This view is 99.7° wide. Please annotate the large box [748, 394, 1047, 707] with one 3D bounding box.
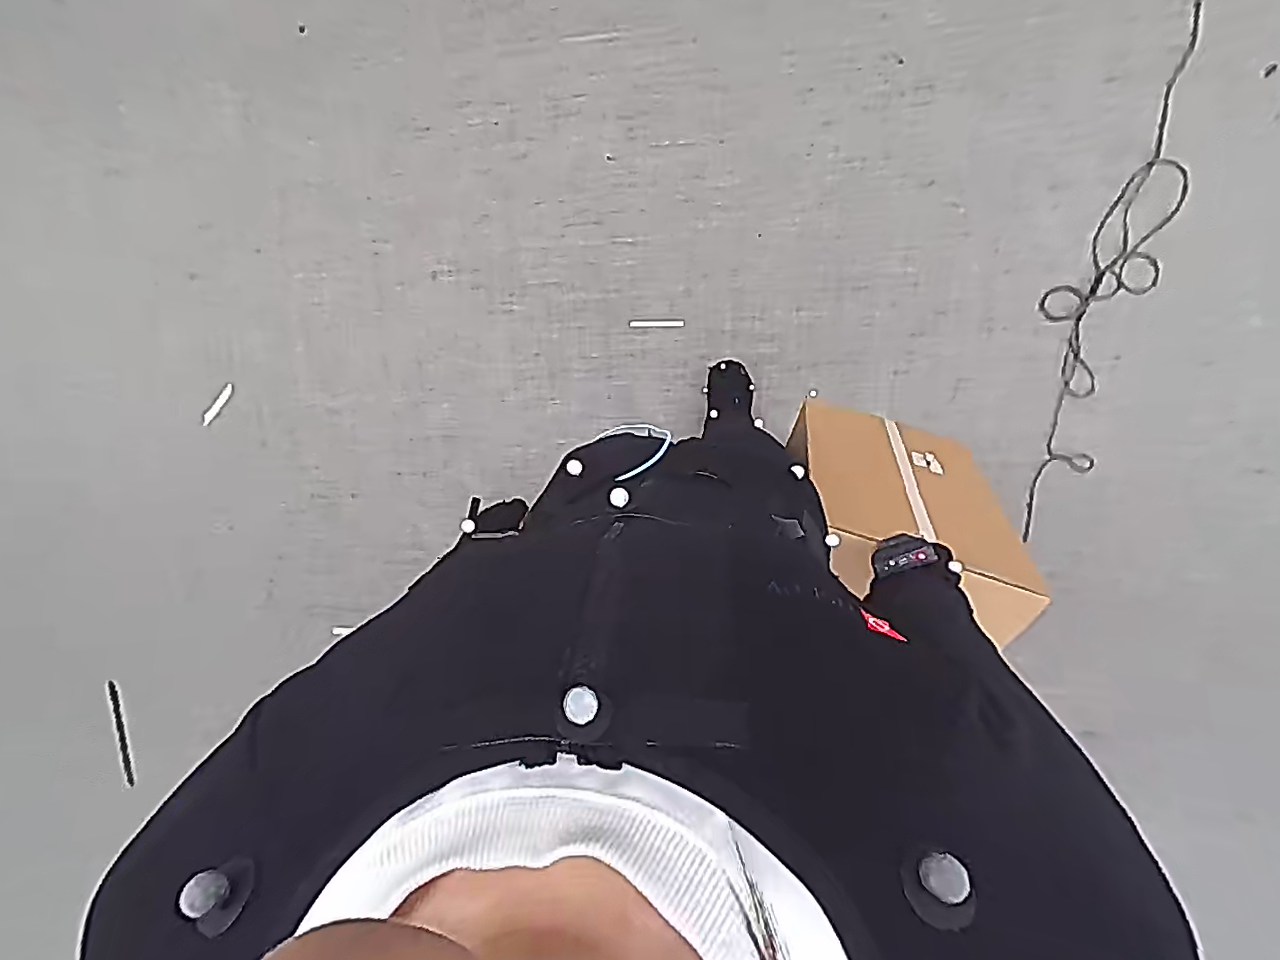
[{"bbox_3d":[0.385,0.103,0.942,0.320,0.408,0.320,18,124,3],"label":"large box"}]
